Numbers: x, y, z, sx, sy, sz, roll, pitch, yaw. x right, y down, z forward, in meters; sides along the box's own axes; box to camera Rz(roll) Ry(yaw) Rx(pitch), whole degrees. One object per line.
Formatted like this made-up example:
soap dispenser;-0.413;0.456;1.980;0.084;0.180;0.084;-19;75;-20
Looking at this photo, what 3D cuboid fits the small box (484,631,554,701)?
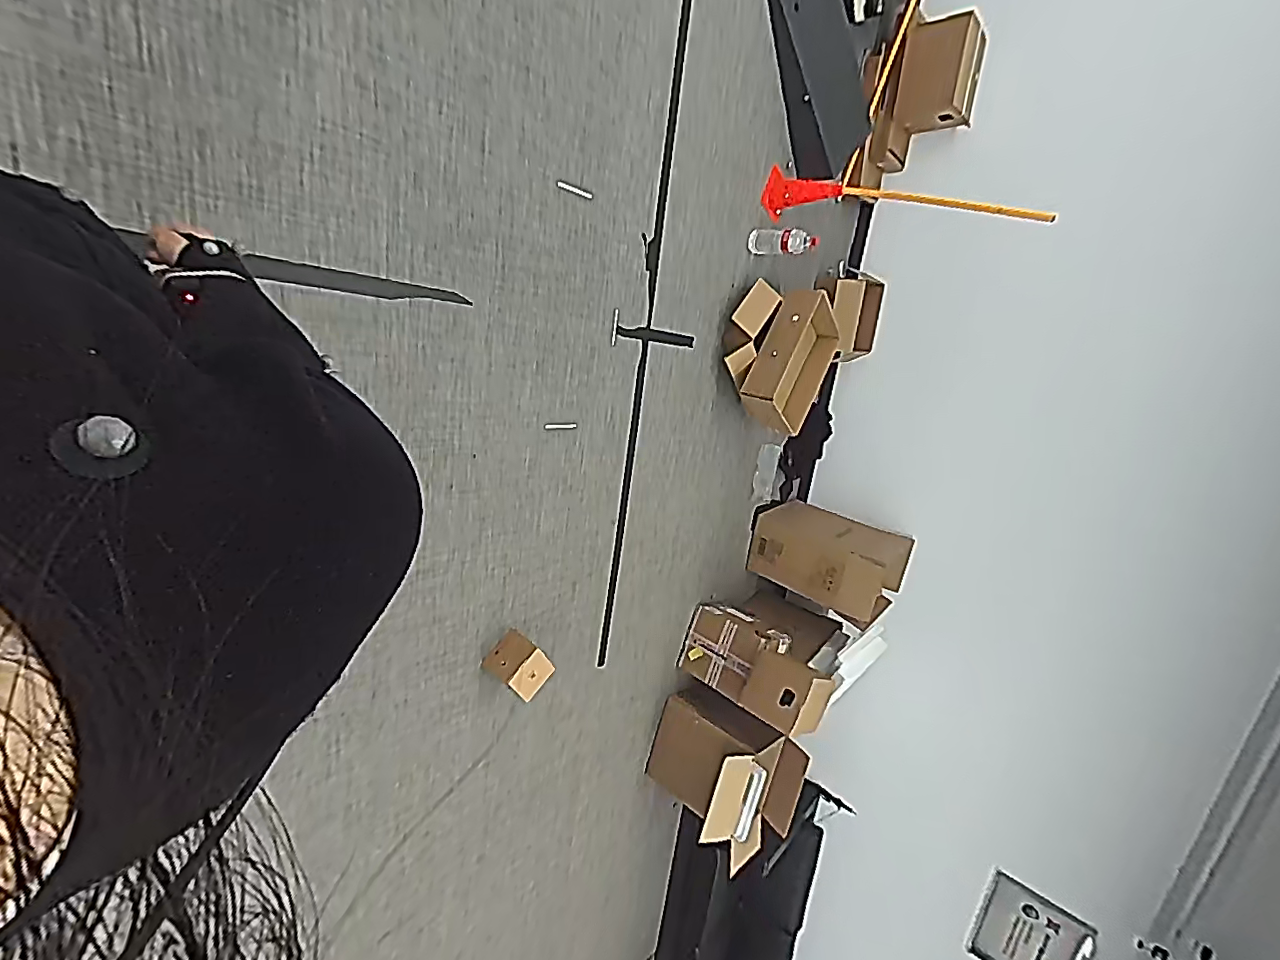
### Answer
small box;-0.472;0.715;2.104;0.168;0.176;0.179;-47;138;-25
